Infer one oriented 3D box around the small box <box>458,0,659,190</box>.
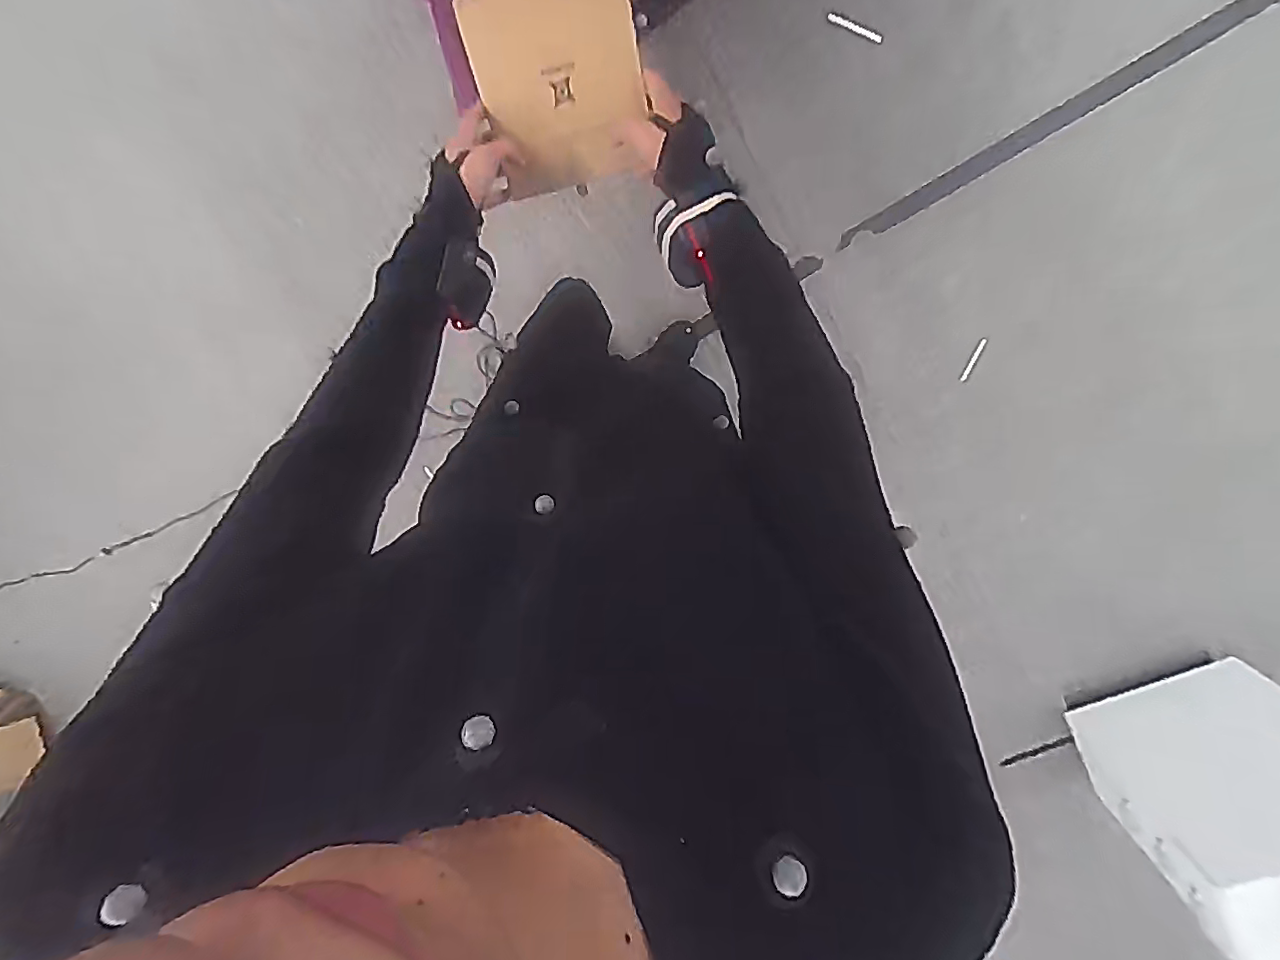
[{"bbox_3d":[-0.076,-0.440,0.601,0.168,0.176,0.179,-10,121,7],"label":"small box"}]
